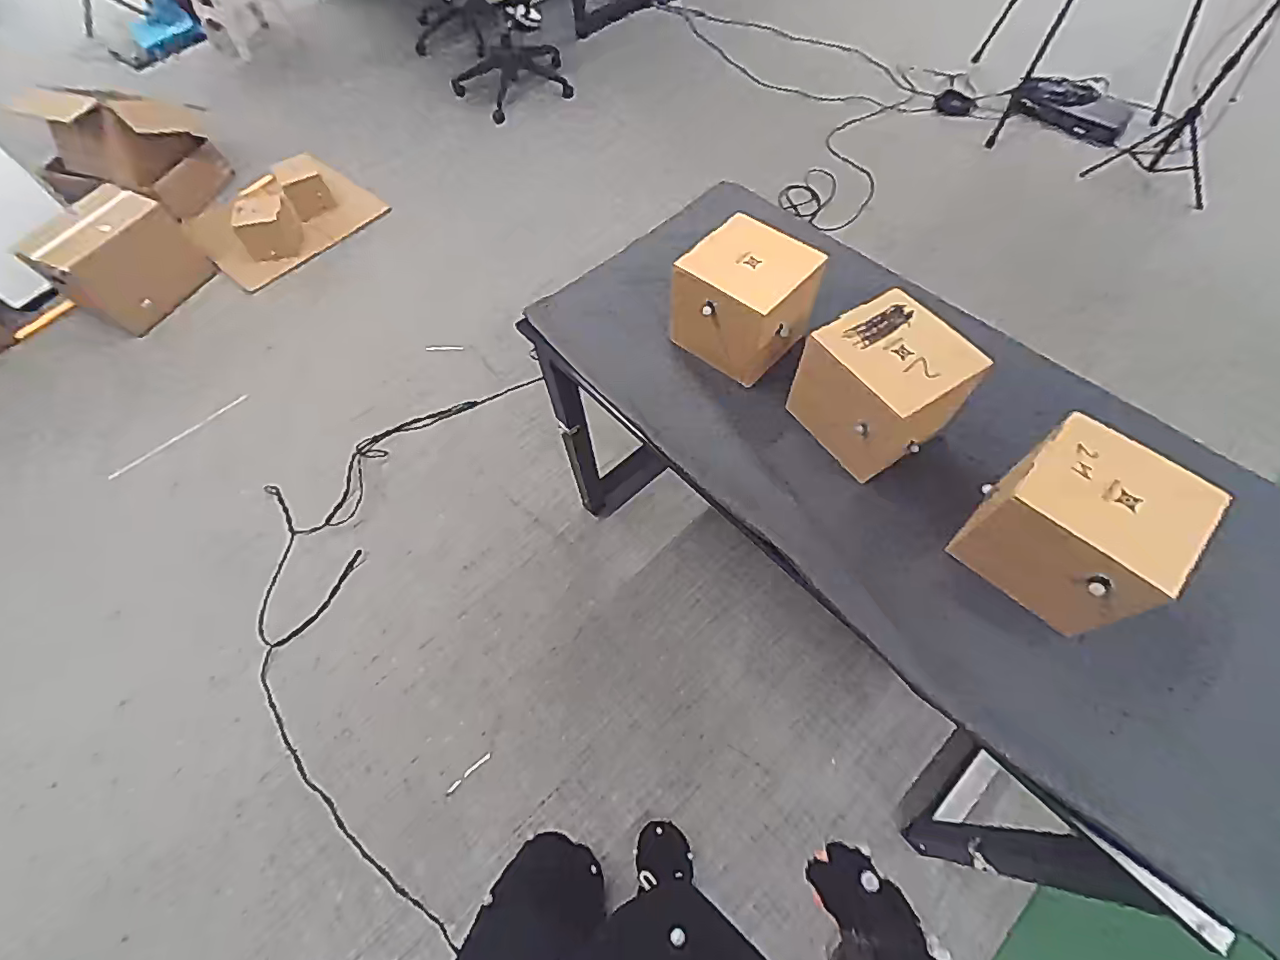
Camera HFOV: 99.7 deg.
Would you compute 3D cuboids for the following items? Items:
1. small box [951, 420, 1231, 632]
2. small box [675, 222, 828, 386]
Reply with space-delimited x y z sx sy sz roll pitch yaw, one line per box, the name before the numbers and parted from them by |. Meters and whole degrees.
small box | 0.538 0.067 0.671 0.168 0.176 0.179 -41 65 -20
small box | 0.175 -0.283 0.898 0.179 0.176 0.168 38 68 21
